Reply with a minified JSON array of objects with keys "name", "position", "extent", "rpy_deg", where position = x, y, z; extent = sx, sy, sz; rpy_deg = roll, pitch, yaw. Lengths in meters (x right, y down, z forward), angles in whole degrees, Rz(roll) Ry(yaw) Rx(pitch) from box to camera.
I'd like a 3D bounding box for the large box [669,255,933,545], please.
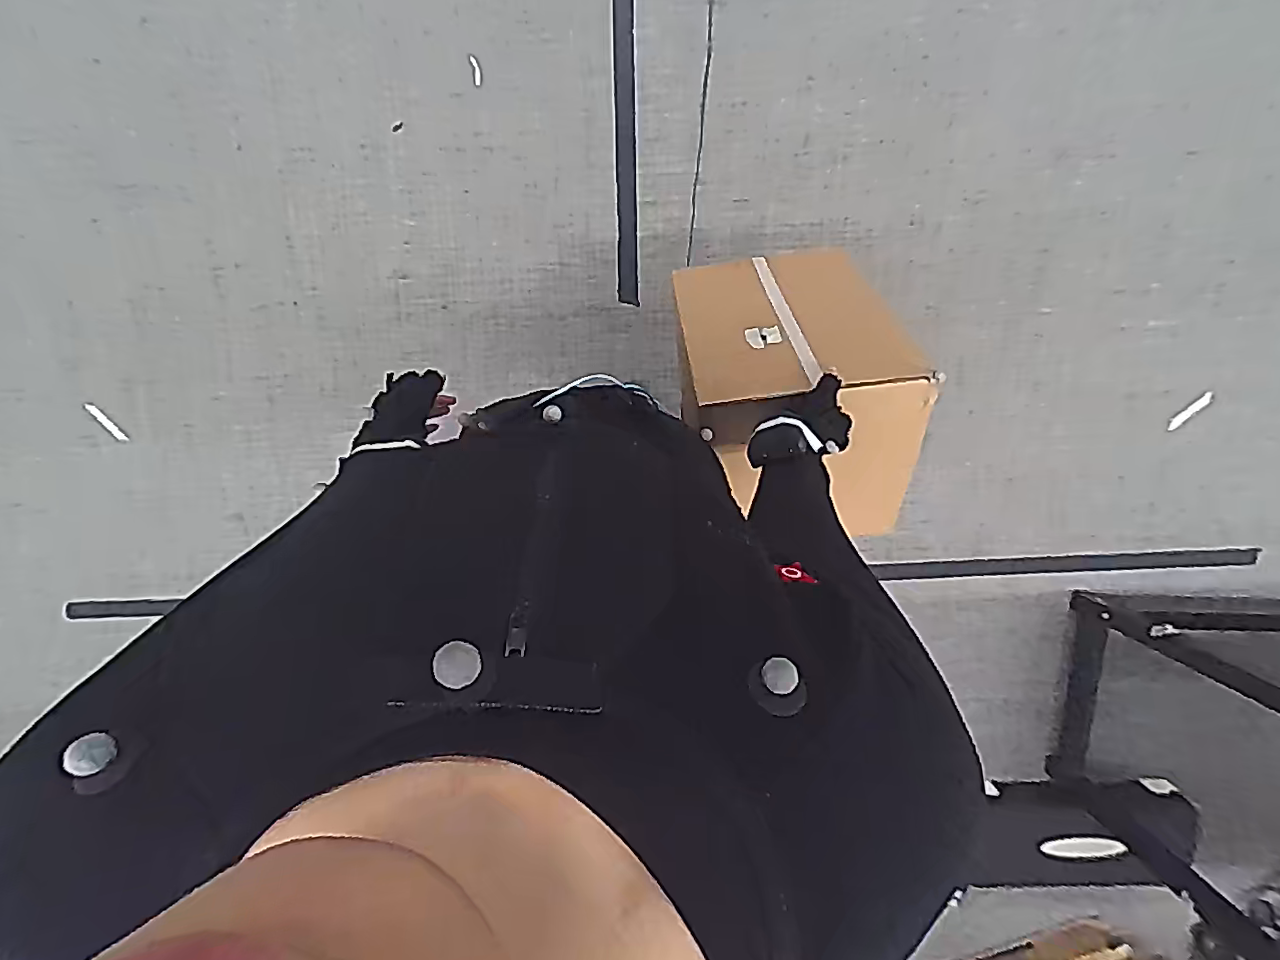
[{"name":"large box","position":[0.232,-0.147,0.949],"extent":[0.320,0.408,0.320],"rpy_deg":[-7,136,3]}]
